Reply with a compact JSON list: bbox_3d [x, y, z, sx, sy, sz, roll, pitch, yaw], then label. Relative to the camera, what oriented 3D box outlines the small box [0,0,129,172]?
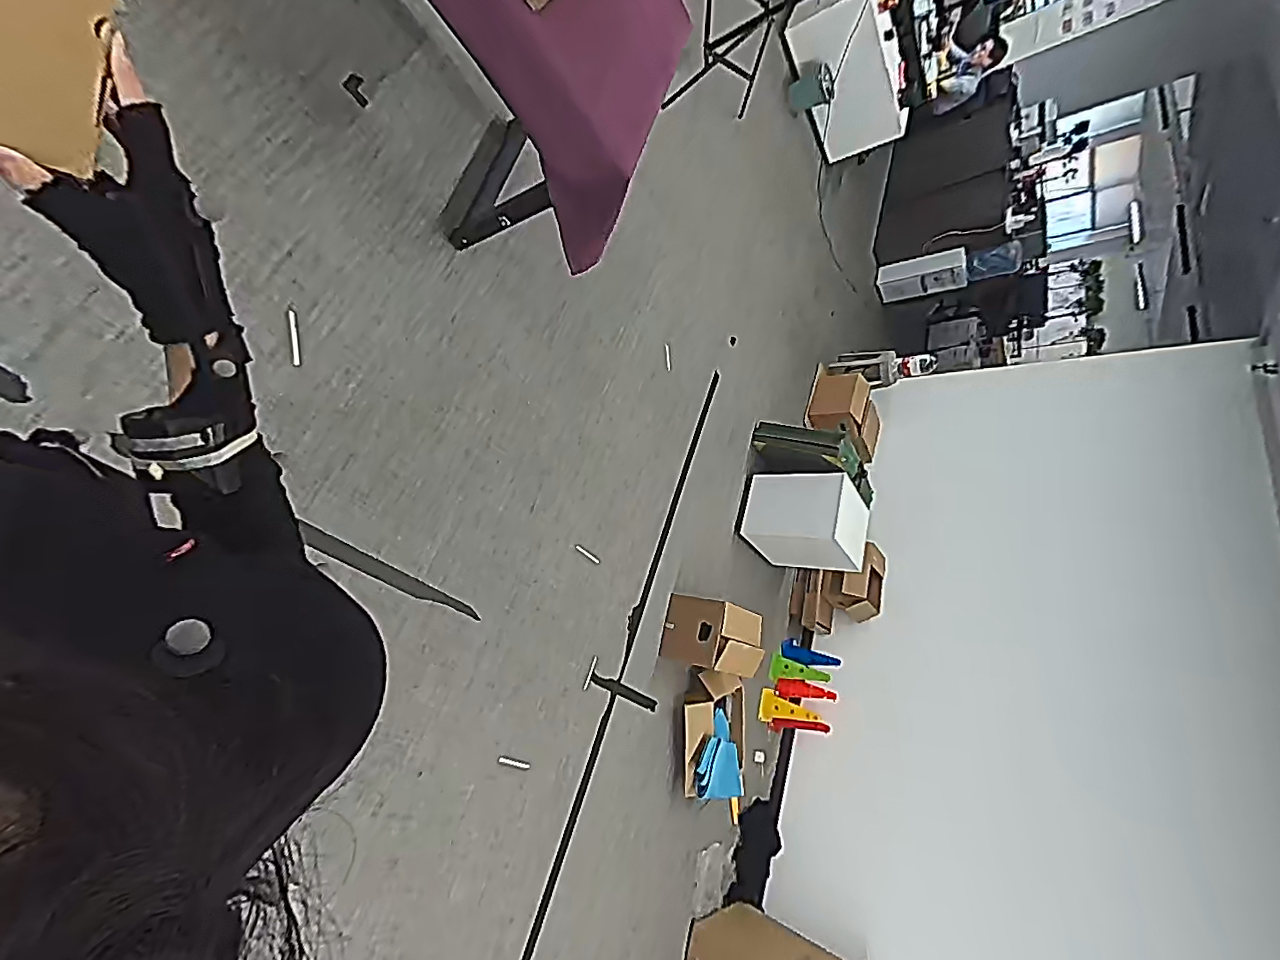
[{"bbox_3d":[-0.401,-0.286,0.276,0.179,0.176,0.168,3,105,-55],"label":"small box"}]
